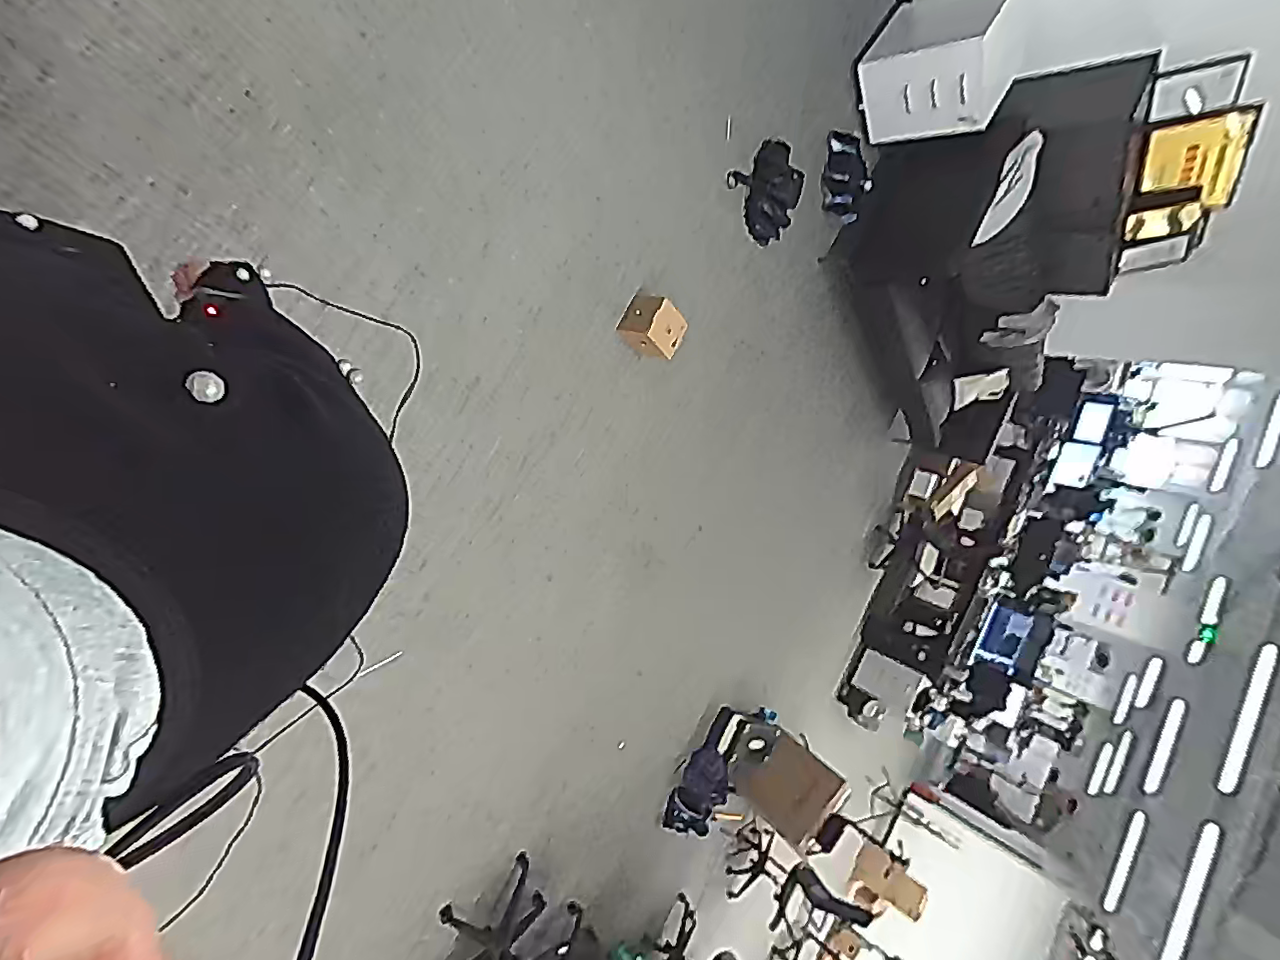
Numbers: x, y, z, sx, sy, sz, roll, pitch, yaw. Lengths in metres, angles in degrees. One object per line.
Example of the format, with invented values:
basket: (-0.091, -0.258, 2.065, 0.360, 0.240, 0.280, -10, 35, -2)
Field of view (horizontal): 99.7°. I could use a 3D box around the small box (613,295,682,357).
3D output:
small box: (0.026, -0.598, 2.093, 0.179, 0.176, 0.168, 36, 79, -49)
